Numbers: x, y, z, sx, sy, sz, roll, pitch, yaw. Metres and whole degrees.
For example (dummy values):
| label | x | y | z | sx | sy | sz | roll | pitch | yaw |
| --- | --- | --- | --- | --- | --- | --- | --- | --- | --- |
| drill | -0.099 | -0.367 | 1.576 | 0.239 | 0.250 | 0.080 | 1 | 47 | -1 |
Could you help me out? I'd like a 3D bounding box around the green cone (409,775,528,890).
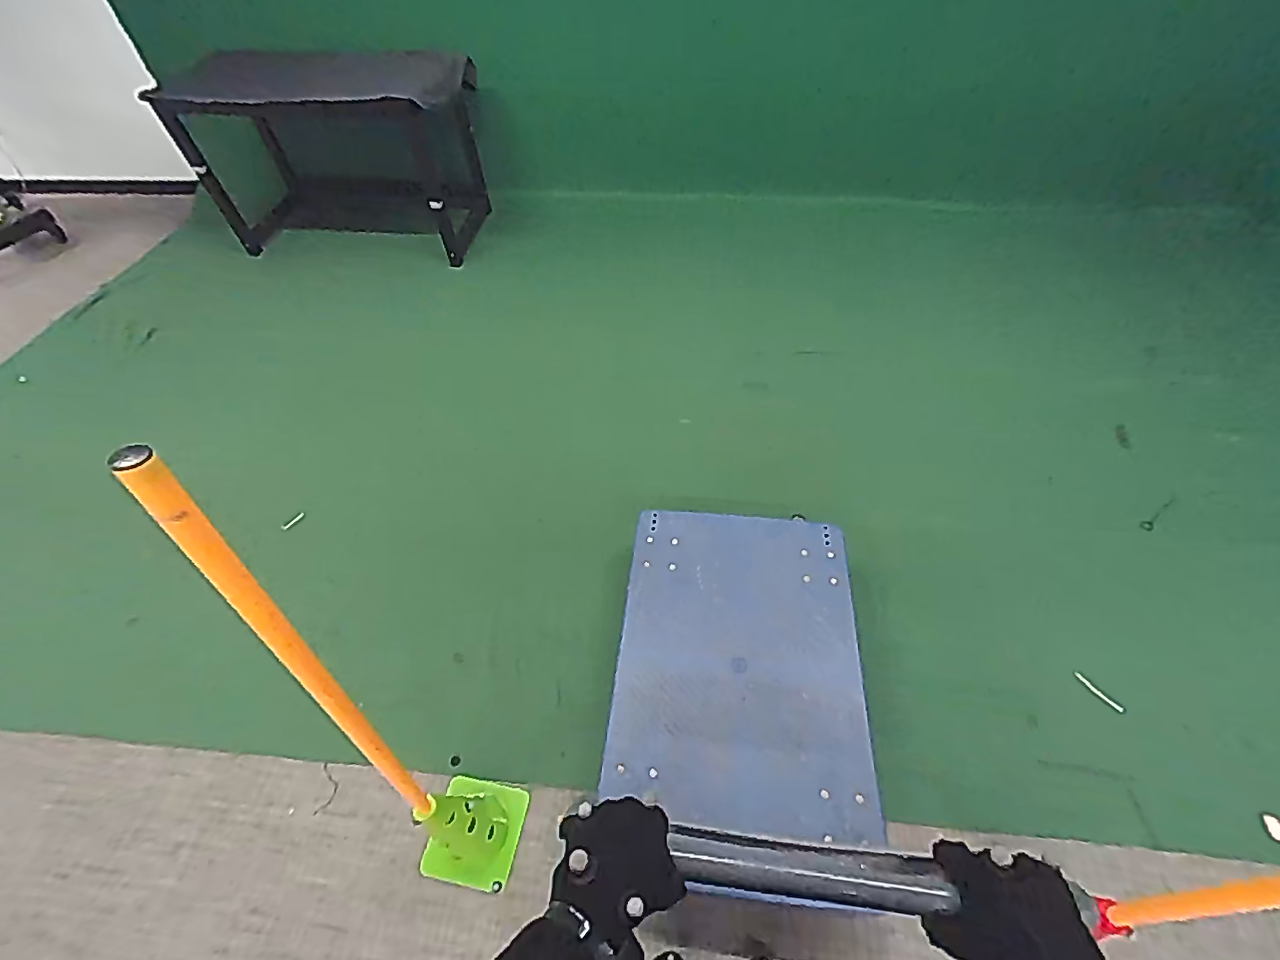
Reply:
| label | x | y | z | sx | sy | sz | roll | pitch | yaw |
| --- | --- | --- | --- | --- | --- | --- | --- | --- | --- |
| green cone | -0.383 | 0.693 | 1.111 | 0.202 | 0.368 | 0.200 | 7 | 51 | 9 |
